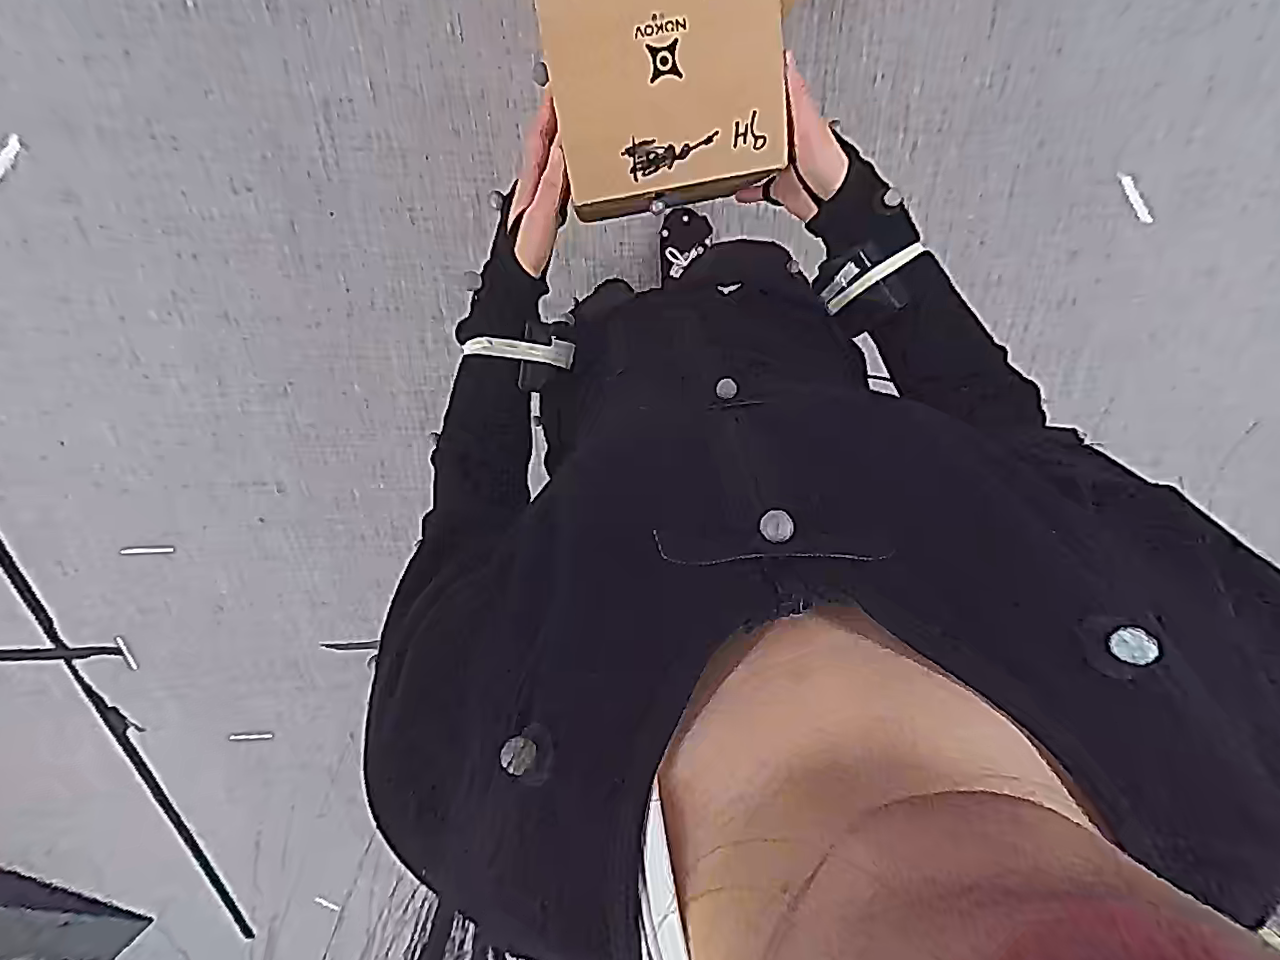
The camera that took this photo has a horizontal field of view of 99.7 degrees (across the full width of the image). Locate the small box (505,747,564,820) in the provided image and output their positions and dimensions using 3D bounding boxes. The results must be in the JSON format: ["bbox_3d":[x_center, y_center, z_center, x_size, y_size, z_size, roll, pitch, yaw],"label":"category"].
[{"bbox_3d":[-0.392,1.135,2.030,0.179,0.176,0.168,13,114,-10],"label":"small box"}]

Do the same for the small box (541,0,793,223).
[{"bbox_3d":[0.014,-0.325,0.444,0.168,0.176,0.179,-11,111,0],"label":"small box"}]
